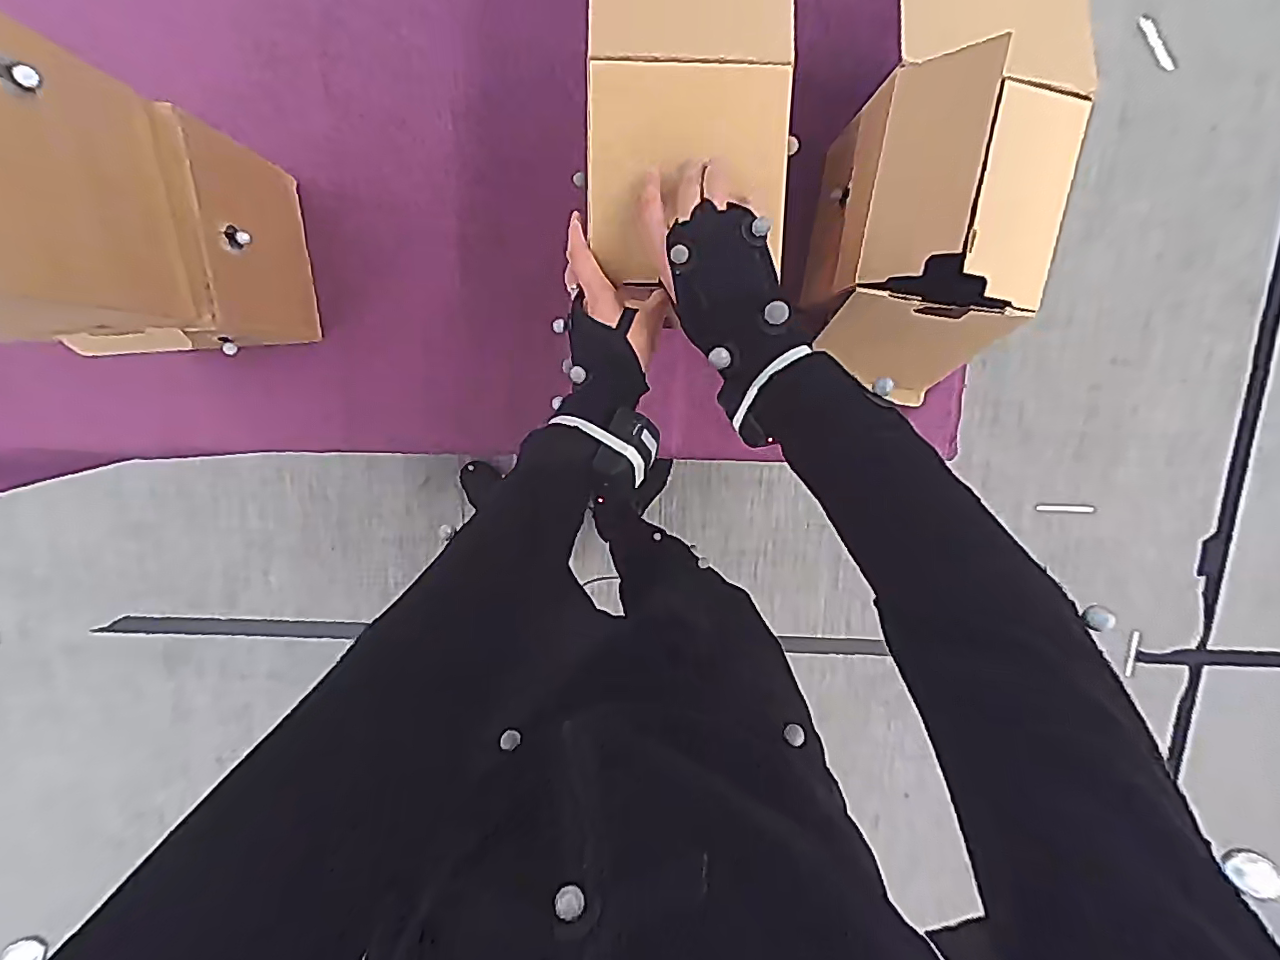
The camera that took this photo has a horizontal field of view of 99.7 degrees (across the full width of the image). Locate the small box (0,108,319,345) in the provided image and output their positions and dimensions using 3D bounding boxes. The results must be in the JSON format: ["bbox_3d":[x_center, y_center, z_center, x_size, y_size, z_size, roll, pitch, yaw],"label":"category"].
[{"bbox_3d":[-0.443,-0.224,0.524,0.168,0.176,0.179,-3,101,-1],"label":"small box"}]

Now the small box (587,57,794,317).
[{"bbox_3d":[0.038,-0.261,0.522,0.168,0.176,0.179,2,101,0],"label":"small box"}]
